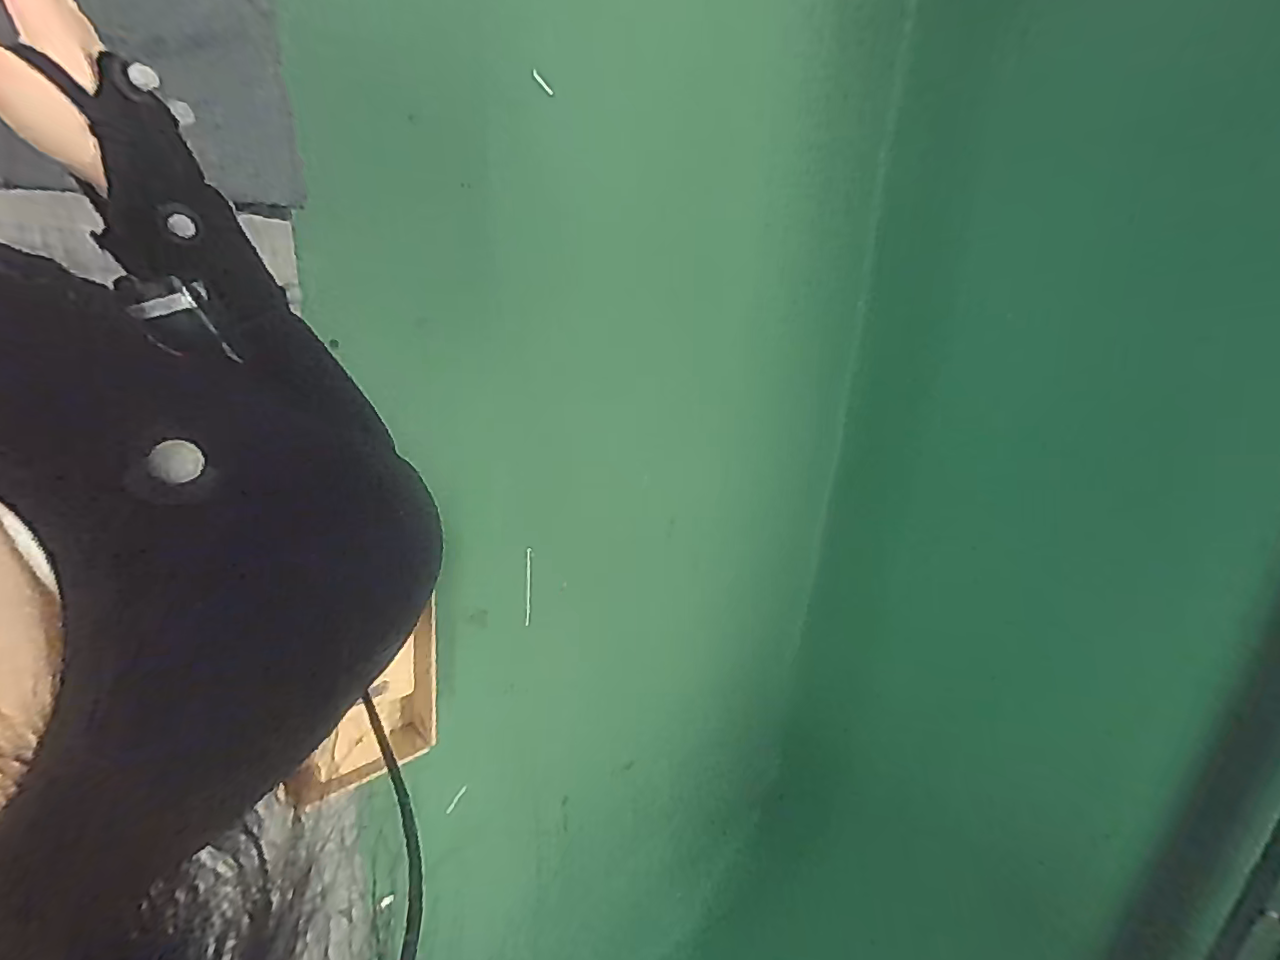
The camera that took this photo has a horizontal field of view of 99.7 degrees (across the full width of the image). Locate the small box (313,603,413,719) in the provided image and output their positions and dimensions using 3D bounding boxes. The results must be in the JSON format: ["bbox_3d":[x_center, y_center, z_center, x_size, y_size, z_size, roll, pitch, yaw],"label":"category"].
[{"bbox_3d":[-0.654,0.417,1.276,0.168,0.176,0.179,-9,111,-46],"label":"small box"}]
